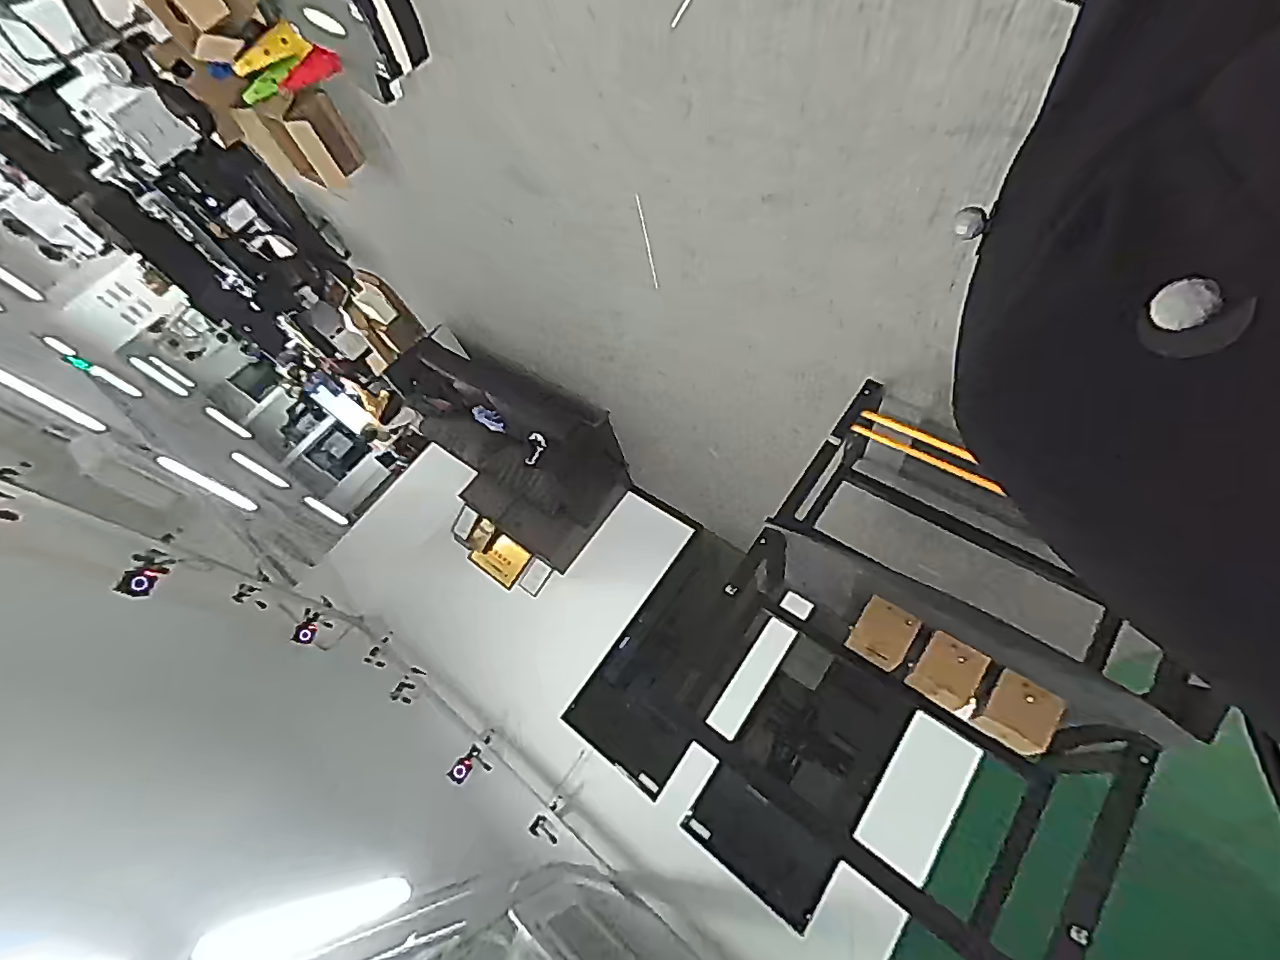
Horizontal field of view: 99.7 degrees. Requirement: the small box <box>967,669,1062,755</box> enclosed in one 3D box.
[{"bbox_3d":[1.137,0.703,1.642,0.168,0.176,0.179,29,161,27],"label":"small box"}]
